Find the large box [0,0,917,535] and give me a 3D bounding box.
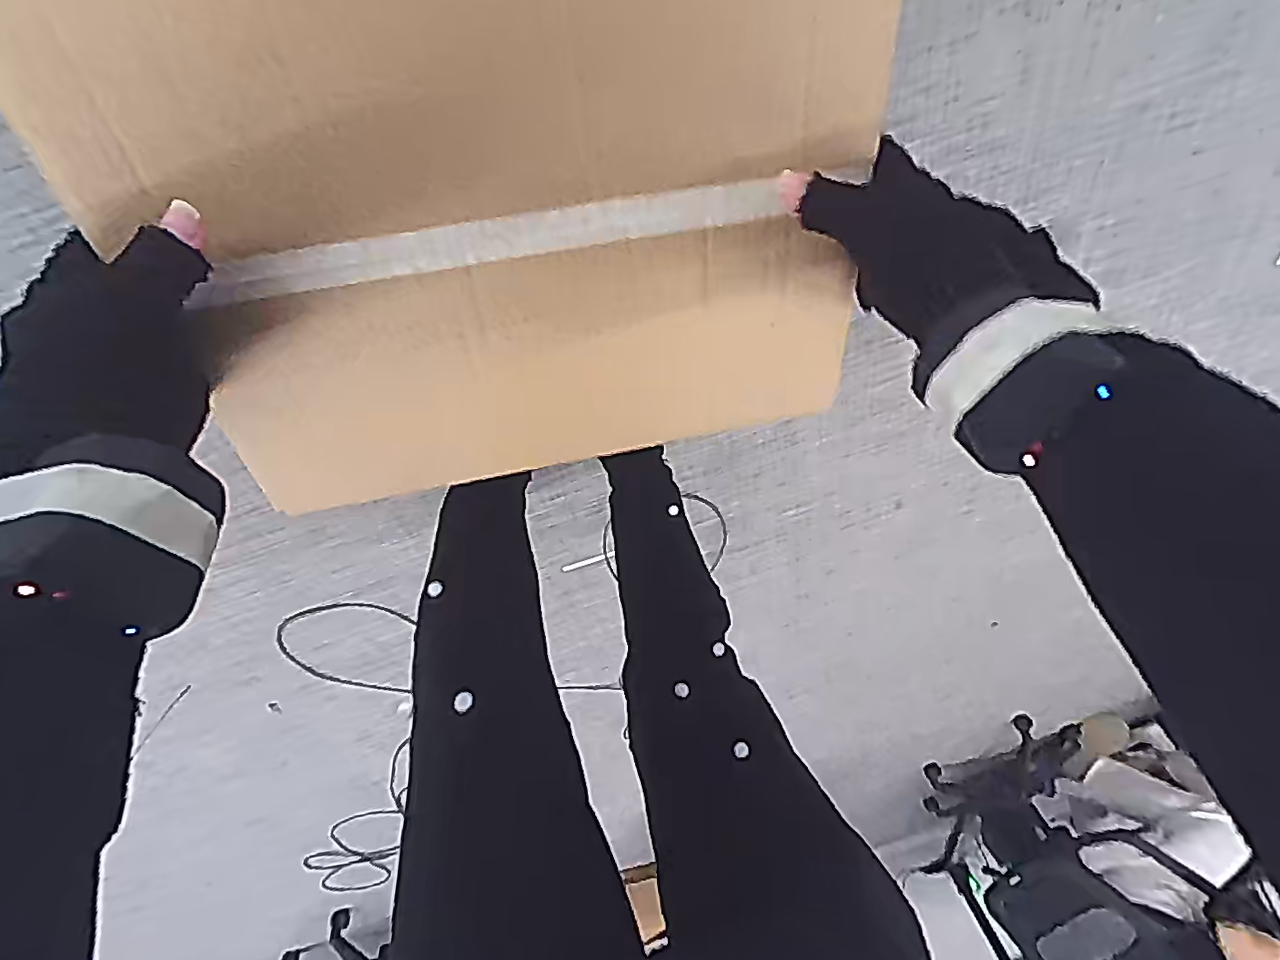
[{"bbox_3d":[-0.084,-0.207,0.415,0.408,0.320,0.320,-11,130,-7],"label":"large box"}]
